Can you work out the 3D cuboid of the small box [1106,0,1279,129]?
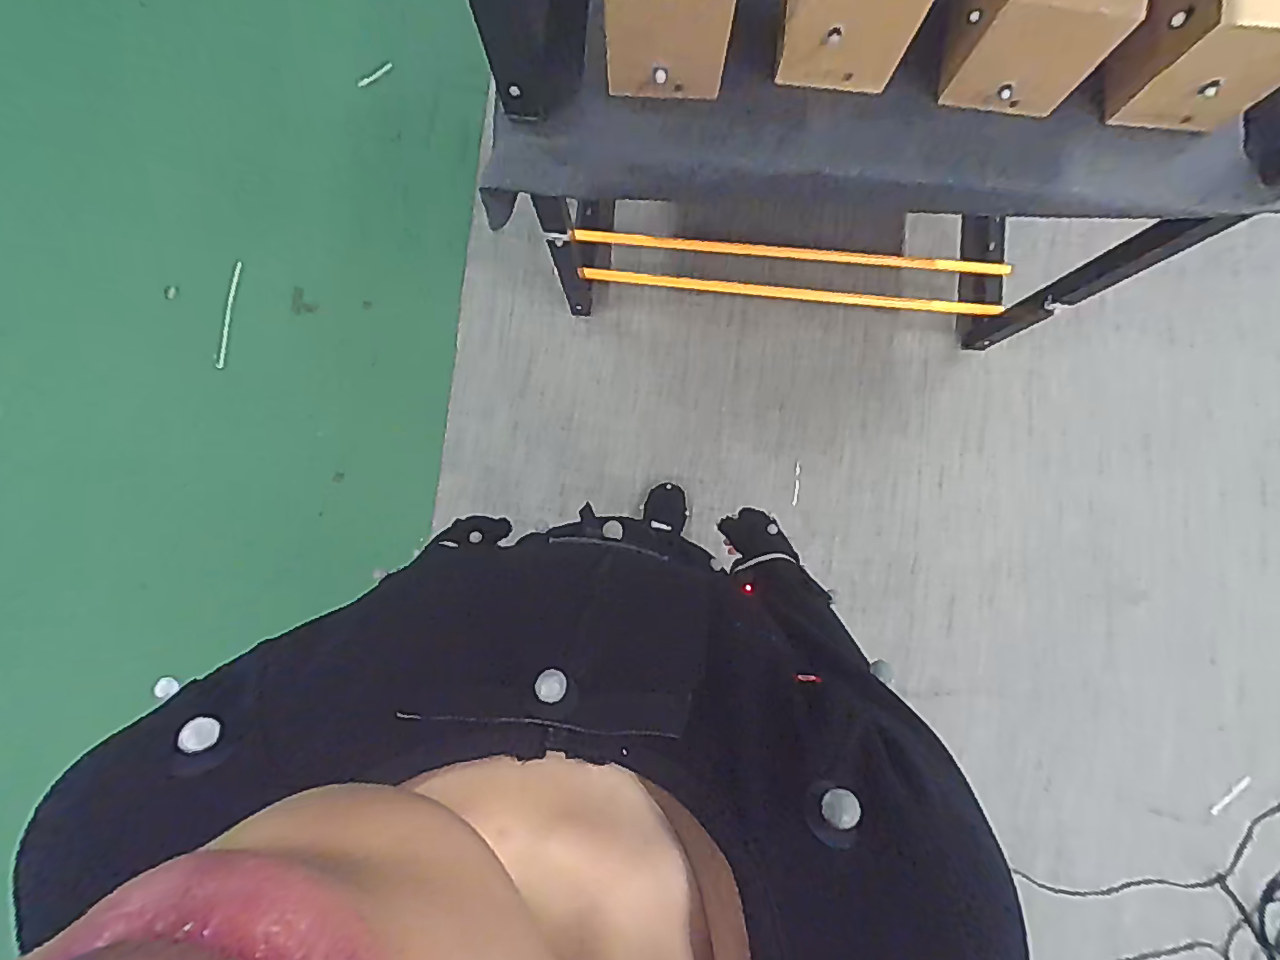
[{"bbox_3d":[0.784,-0.618,0.737,0.168,0.176,0.179,5,84,0],"label":"small box"}]

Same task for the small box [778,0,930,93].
[{"bbox_3d":[0.295,-0.680,0.748,0.168,0.176,0.179,6,85,0],"label":"small box"}]

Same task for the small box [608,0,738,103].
[{"bbox_3d":[0.041,-0.667,0.746,0.168,0.176,0.179,1,86,0],"label":"small box"}]
